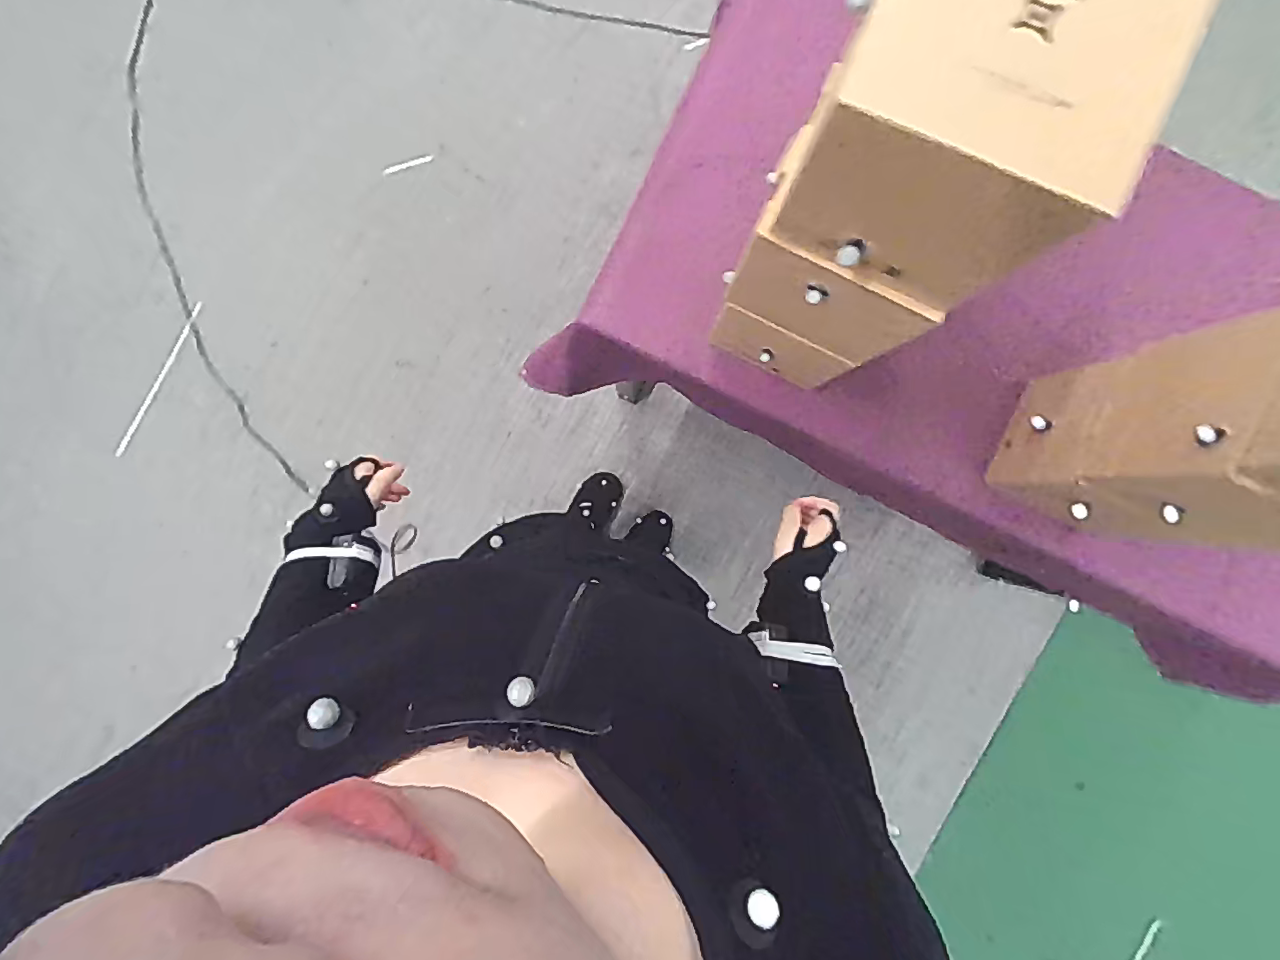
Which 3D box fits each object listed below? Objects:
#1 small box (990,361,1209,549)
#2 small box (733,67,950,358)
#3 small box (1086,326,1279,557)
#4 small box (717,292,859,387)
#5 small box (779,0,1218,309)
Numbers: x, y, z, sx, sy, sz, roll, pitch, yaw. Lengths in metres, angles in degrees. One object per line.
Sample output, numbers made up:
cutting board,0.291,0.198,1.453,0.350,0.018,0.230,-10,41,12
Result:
small box,0.605,-0.027,0.698,0.179,0.176,0.168,26,90,1
small box,0.211,-0.240,0.533,0.179,0.176,0.168,27,90,-1
small box,0.606,-0.035,0.535,0.168,0.176,0.179,28,90,0
small box,0.212,-0.239,0.698,0.168,0.176,0.179,27,90,-1
small box,0.215,-0.249,0.370,0.168,0.176,0.179,25,90,1
